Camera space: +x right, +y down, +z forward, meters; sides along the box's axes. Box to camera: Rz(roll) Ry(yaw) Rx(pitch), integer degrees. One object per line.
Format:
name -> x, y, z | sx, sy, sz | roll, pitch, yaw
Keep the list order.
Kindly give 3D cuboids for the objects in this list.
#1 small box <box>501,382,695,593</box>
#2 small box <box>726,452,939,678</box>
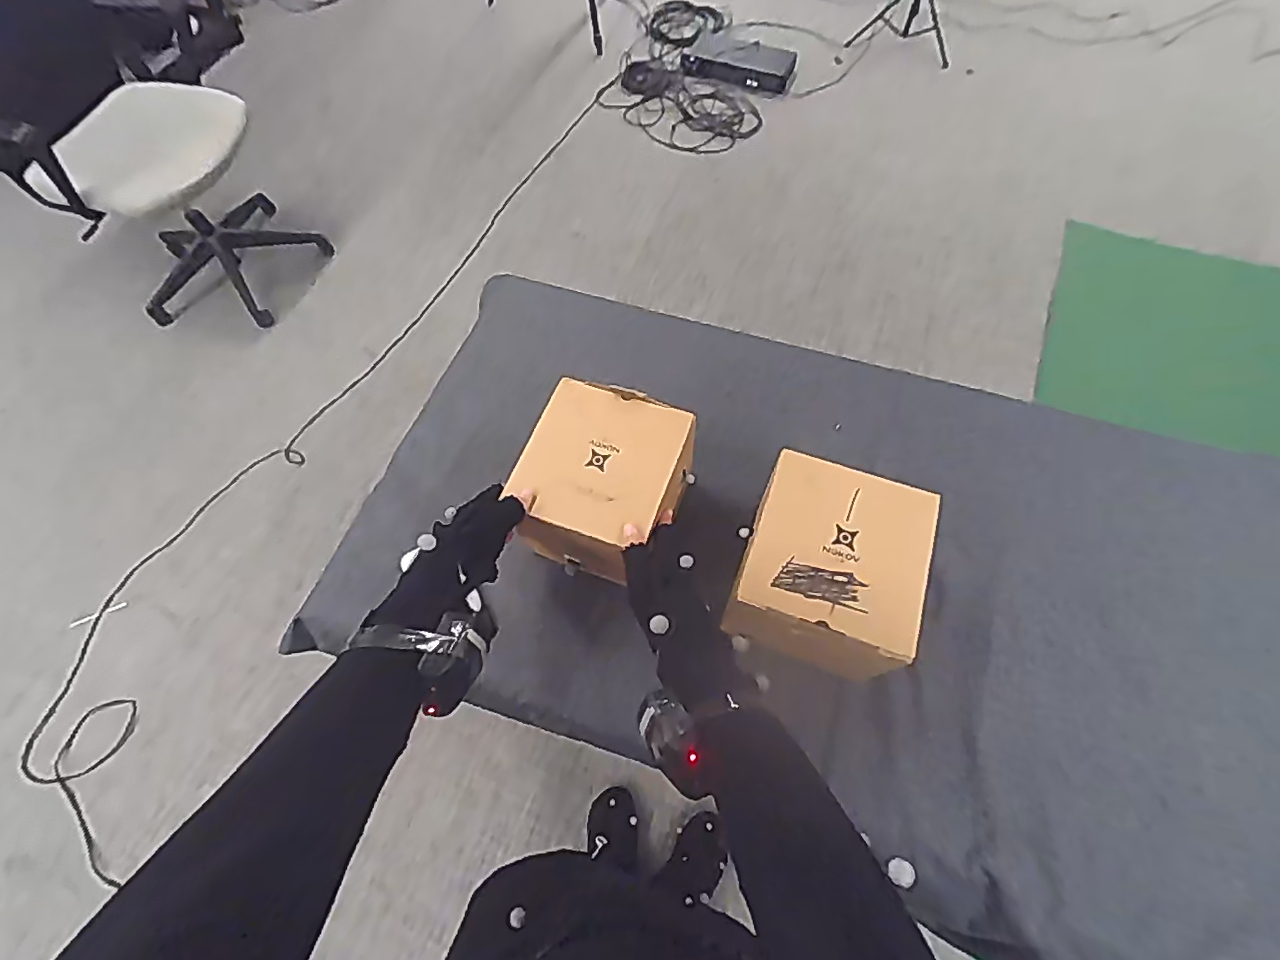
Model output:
small box -> -0.040, 0.015, 0.657 | 0.168, 0.176, 0.179 | 17, 67, 12
small box -> 0.199, 0.102, 0.600 | 0.168, 0.176, 0.179 | 19, 65, 11
